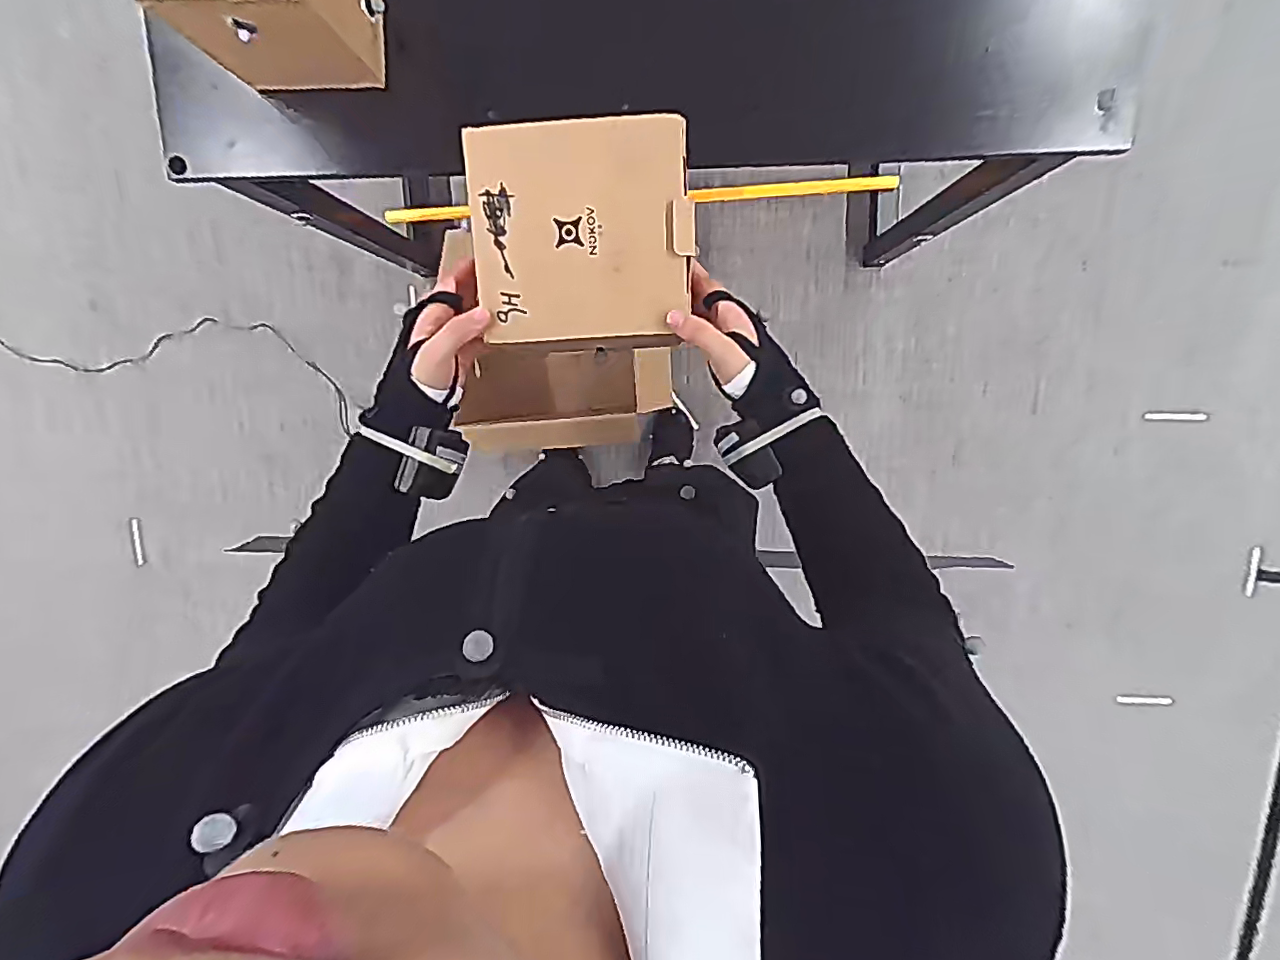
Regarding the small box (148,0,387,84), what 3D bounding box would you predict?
[{"bbox_3d":[-0.400,-0.556,0.578,0.179,0.176,0.168,0,101,1],"label":"small box"}]
